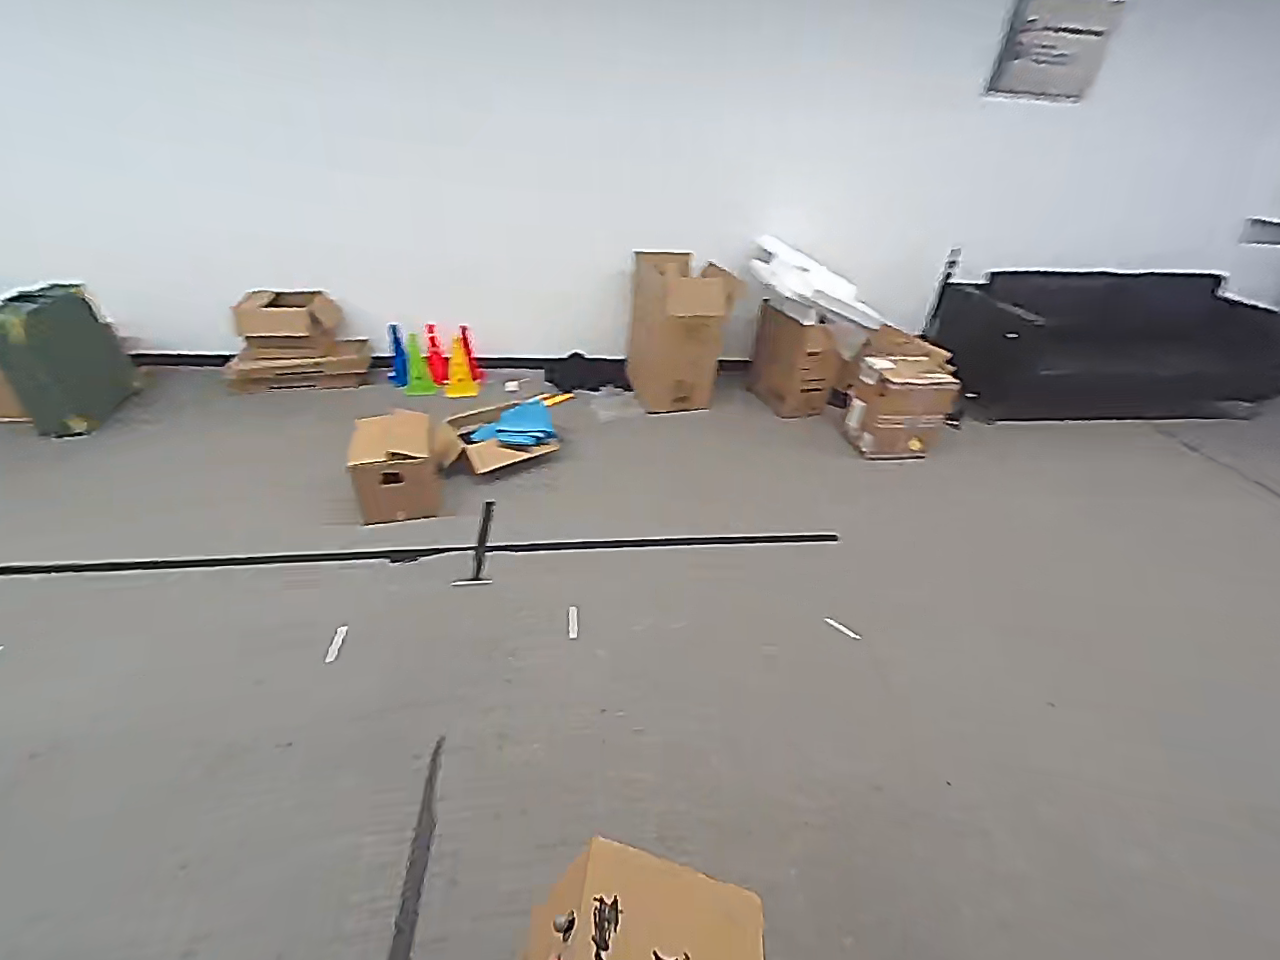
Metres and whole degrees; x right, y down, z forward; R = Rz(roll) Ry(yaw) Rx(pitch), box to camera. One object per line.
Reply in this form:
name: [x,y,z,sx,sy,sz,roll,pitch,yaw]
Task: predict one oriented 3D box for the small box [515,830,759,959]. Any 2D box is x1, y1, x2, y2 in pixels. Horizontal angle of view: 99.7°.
small box: [-0.012,0.454,0.467,0.179,0.176,0.168,25,27,-6]
